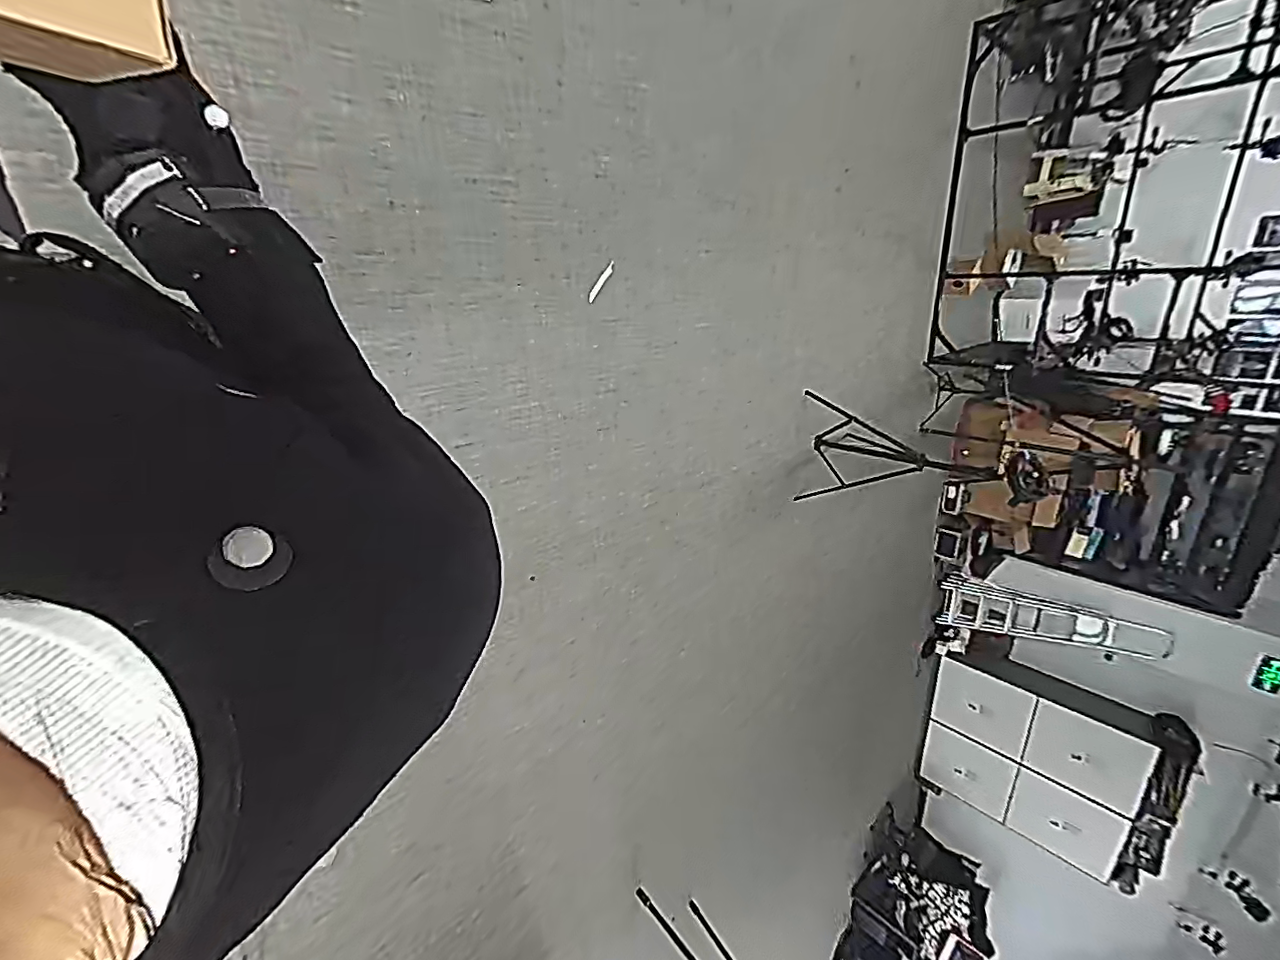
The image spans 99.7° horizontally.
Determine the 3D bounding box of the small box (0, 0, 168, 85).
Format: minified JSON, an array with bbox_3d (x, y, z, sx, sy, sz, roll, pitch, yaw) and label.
[{"bbox_3d":[-0.290,-0.252,0.164,0.176,0.168,0.179,-19,125,-47],"label":"small box"}]
